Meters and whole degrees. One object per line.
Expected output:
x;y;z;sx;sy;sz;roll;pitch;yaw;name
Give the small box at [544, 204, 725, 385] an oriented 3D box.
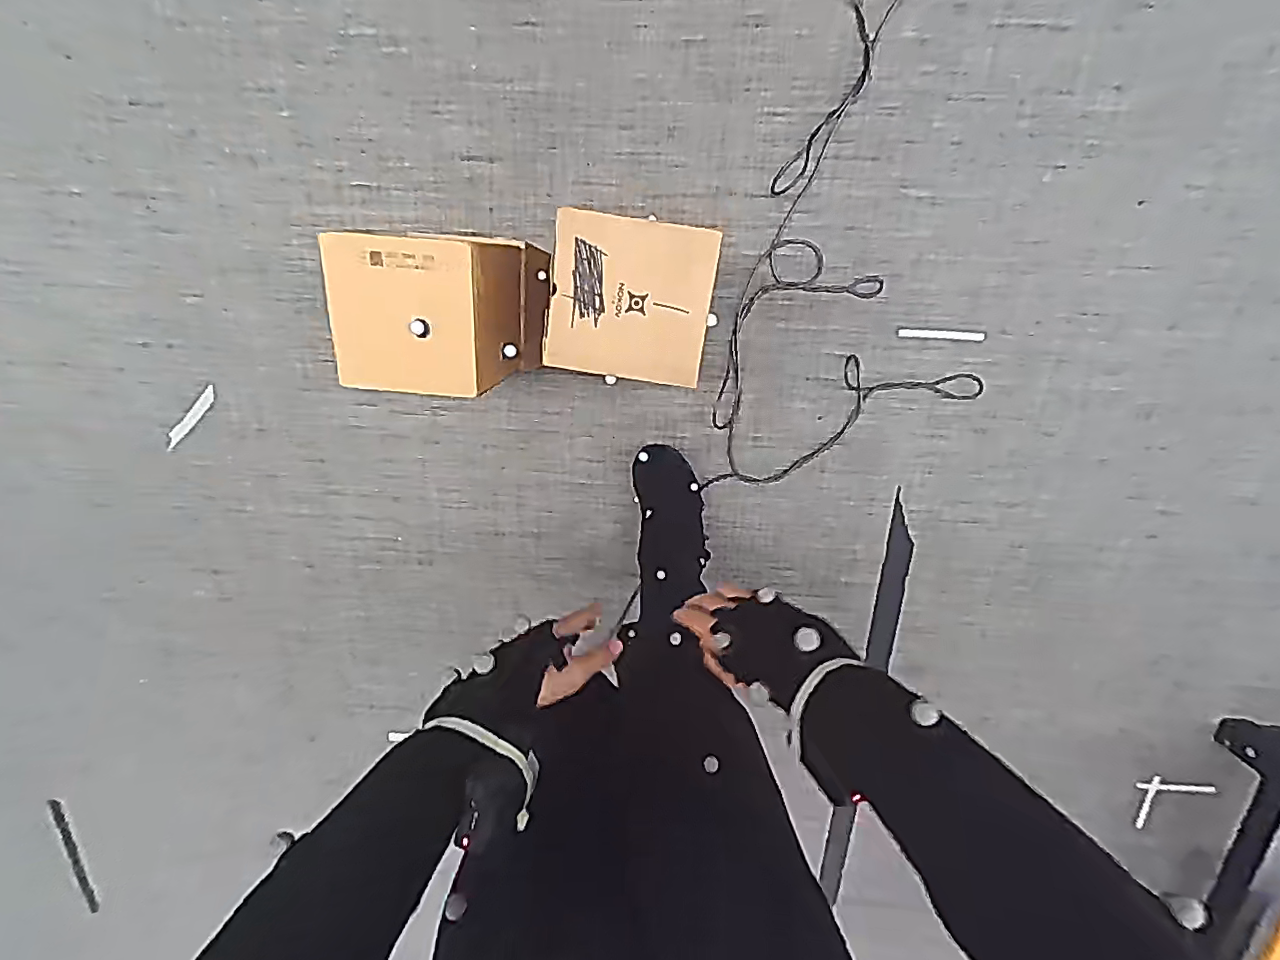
-0.005;-0.217;0.656;0.179;0.176;0.168;9;107;0;small box
